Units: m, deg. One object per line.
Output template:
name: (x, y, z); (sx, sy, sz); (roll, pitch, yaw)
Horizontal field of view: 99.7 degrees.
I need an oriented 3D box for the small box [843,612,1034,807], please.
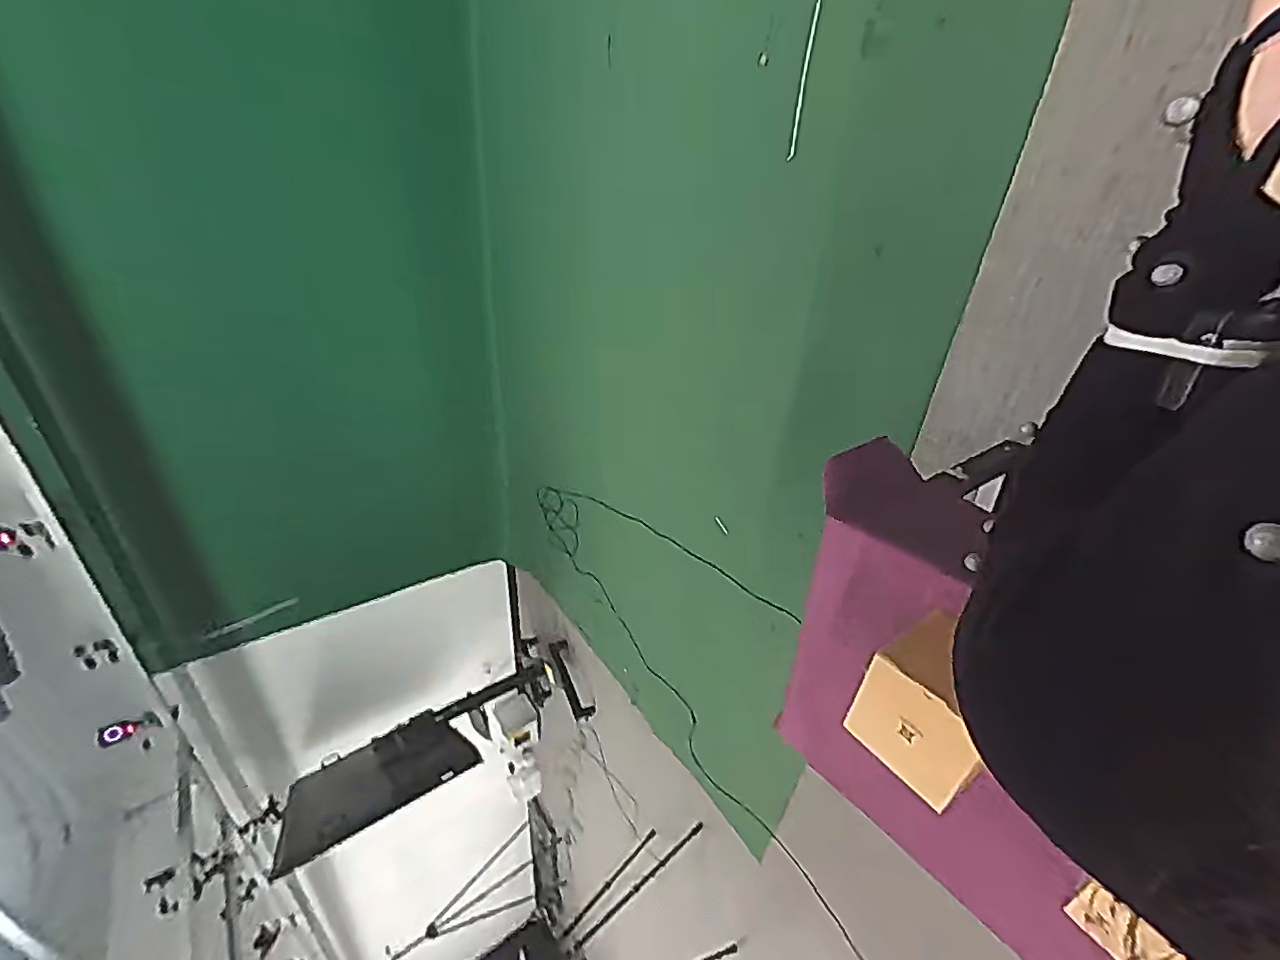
small box: (0.445, 0.334, 0.813); (0.168, 0.176, 0.179); (38, 133, 41)
